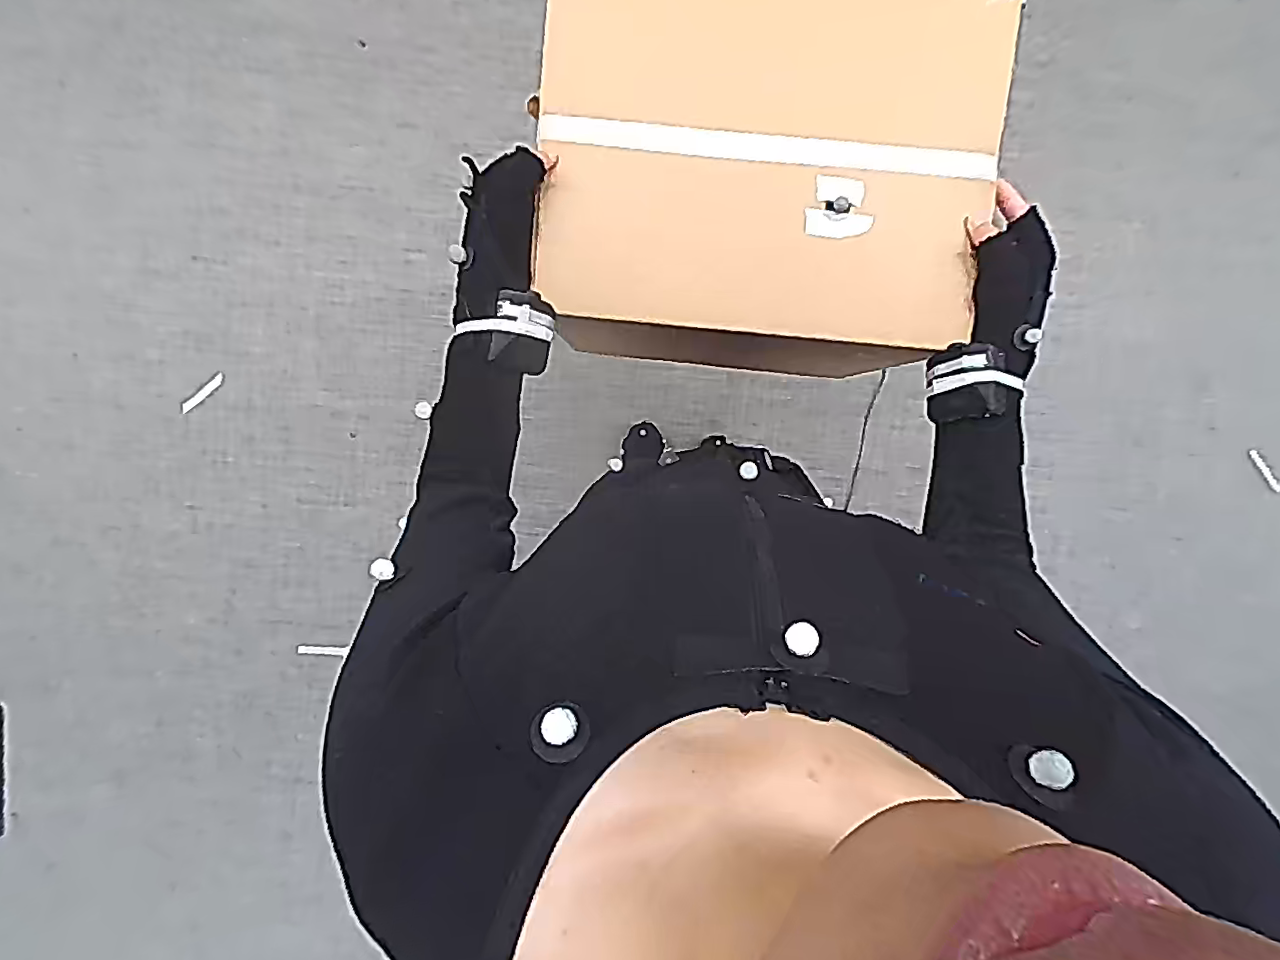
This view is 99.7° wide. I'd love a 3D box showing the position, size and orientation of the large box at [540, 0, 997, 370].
[{"bbox_3d":[0.110,-0.313,0.643,0.408,0.320,0.320,5,97,-1],"label":"large box"}]
